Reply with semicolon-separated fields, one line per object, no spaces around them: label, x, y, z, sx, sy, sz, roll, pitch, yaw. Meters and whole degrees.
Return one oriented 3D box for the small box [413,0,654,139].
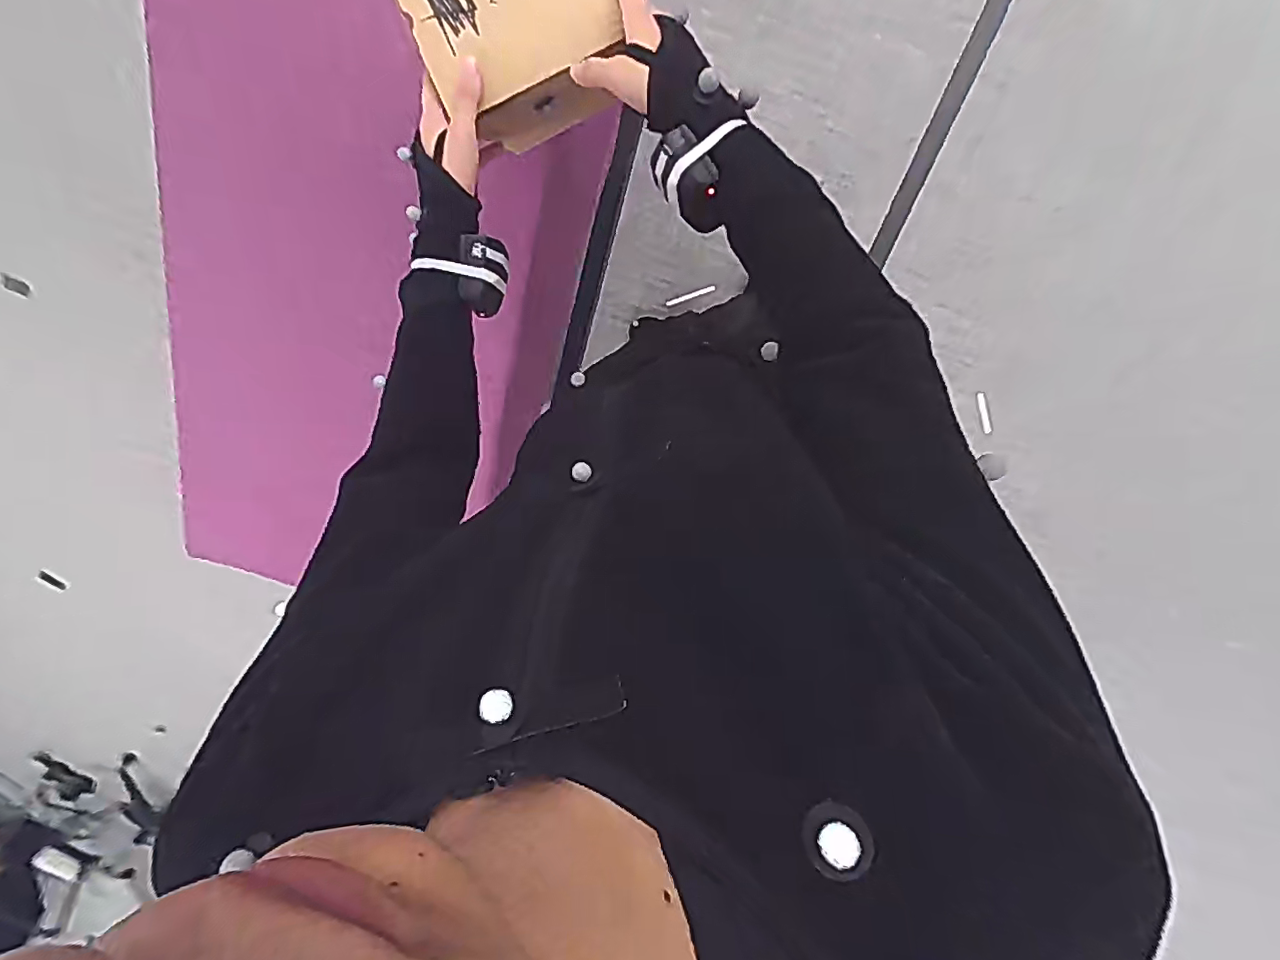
small box;-0.100;-0.455;0.514;0.179;0.176;0.168;-18;111;15
